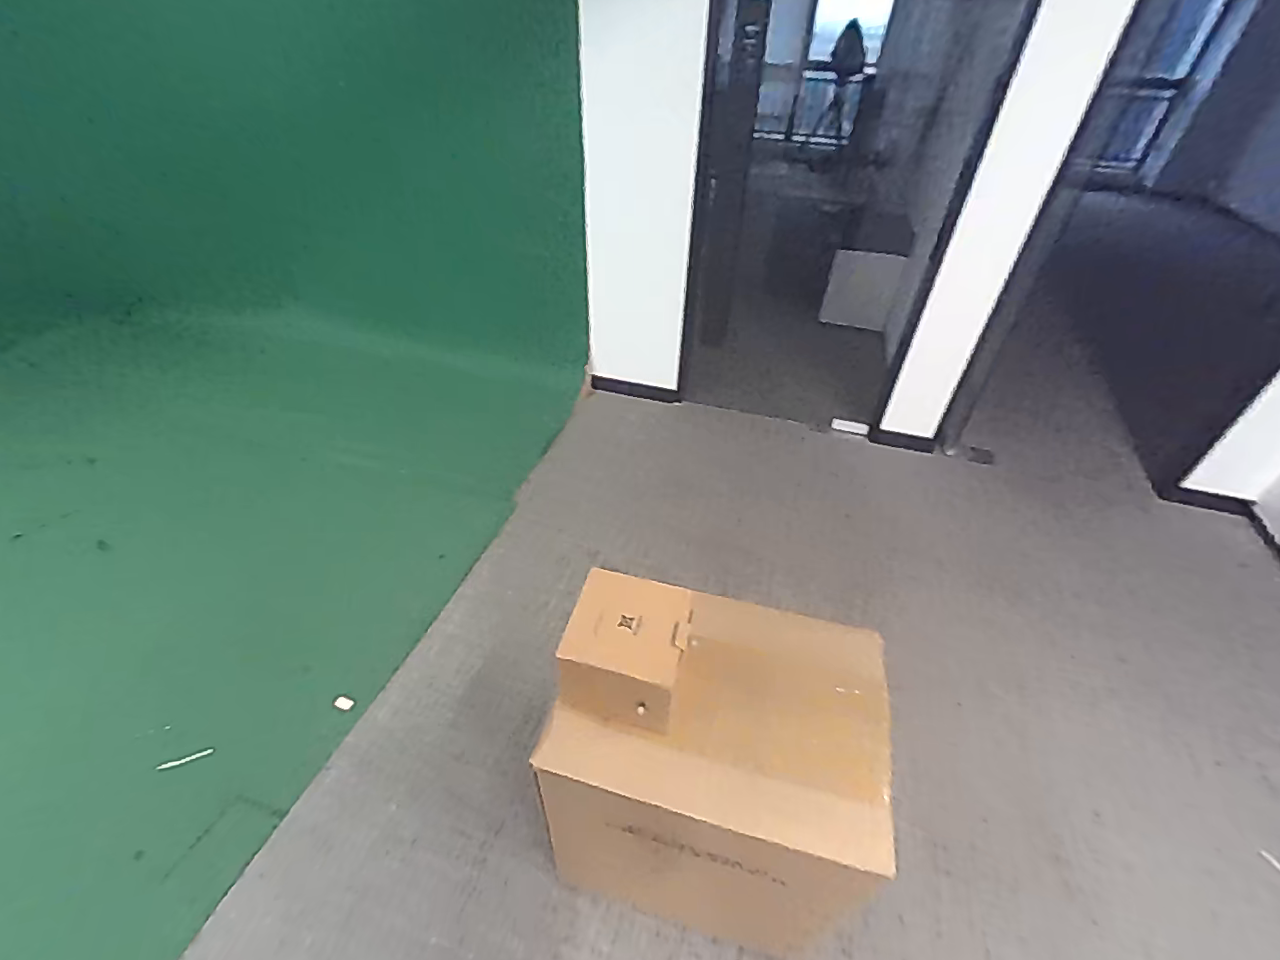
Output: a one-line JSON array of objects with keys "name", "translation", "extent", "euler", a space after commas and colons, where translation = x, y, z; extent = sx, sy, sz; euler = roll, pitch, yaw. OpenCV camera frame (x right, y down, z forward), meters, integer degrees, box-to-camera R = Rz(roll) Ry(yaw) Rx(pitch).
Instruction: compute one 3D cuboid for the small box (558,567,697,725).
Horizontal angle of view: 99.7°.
[{"name": "small box", "translation": [-0.014, 0.270, 0.869], "extent": [0.179, 0.176, 0.168], "euler": [10, 44, 11]}]
